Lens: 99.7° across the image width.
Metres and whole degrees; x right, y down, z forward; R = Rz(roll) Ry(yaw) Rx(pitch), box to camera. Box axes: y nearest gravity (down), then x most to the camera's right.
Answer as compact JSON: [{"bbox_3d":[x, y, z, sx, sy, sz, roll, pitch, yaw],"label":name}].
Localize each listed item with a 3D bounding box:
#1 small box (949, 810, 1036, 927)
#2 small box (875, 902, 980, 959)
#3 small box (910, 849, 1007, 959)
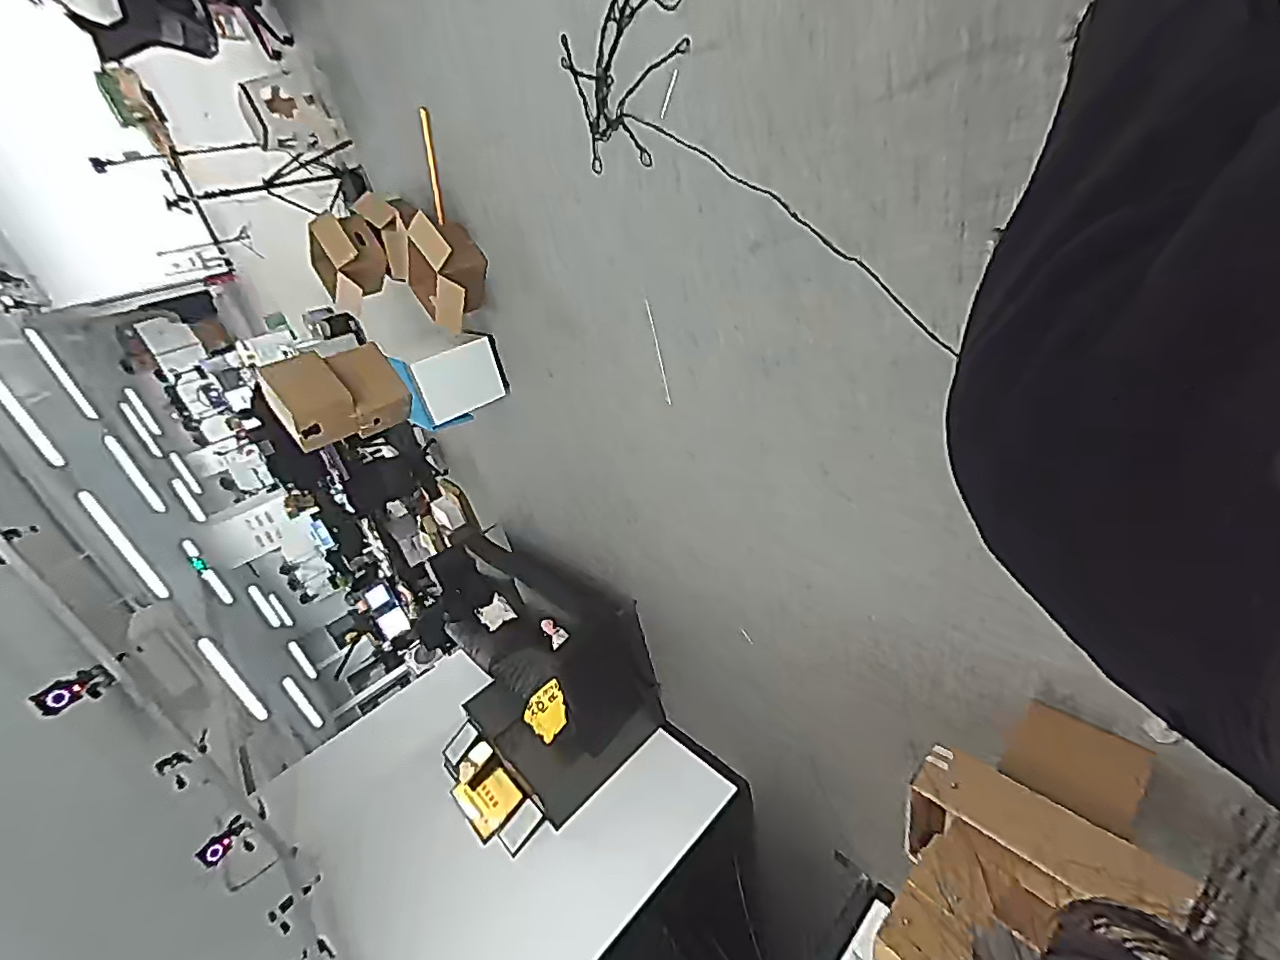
[{"bbox_3d":[0.966,1.069,1.501,0.168,0.176,0.179,25,135,44],"label":"small box"},{"bbox_3d":[0.711,1.210,1.351,0.179,0.176,0.168,23,134,45],"label":"small box"},{"bbox_3d":[0.834,1.133,1.426,0.179,0.176,0.168,24,134,45],"label":"small box"}]
